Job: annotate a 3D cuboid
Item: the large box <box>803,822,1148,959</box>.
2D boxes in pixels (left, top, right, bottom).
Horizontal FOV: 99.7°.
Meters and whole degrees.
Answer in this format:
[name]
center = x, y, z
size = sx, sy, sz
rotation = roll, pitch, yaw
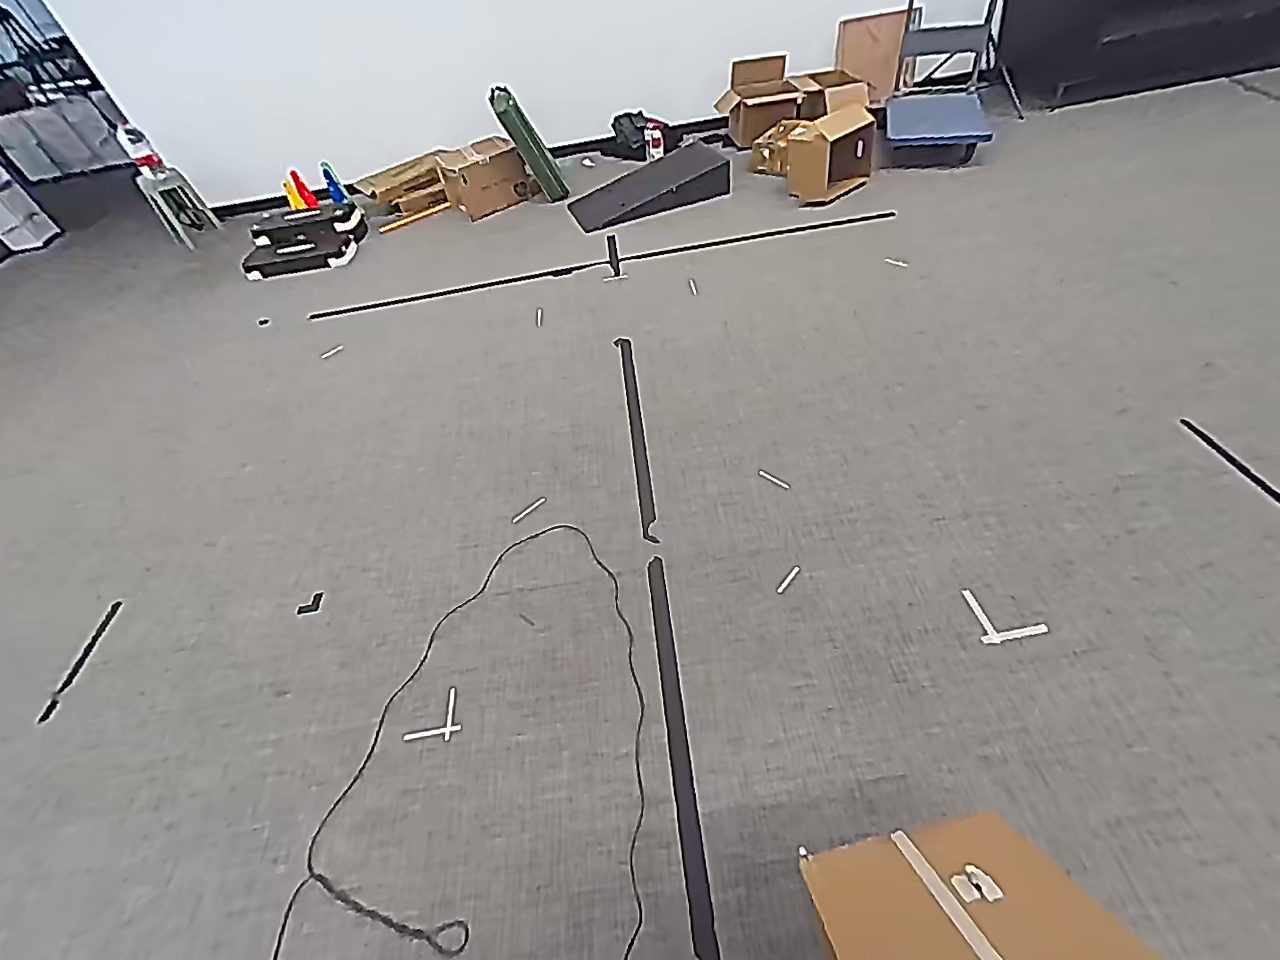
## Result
[large box]
center = 0.434, 0.698, 0.628
size = 0.320, 0.408, 0.320
rotation = -13, 86, 0
